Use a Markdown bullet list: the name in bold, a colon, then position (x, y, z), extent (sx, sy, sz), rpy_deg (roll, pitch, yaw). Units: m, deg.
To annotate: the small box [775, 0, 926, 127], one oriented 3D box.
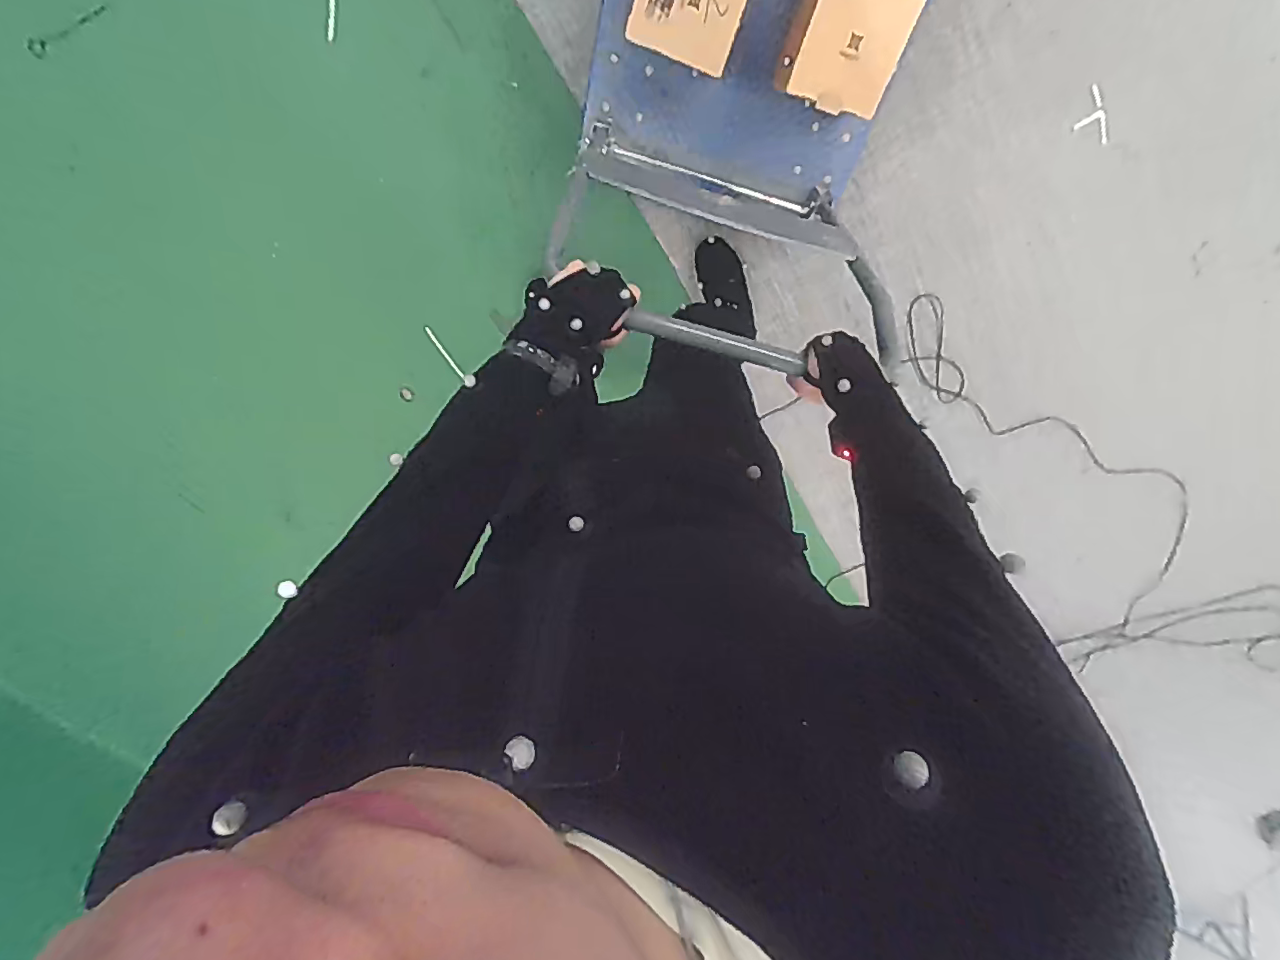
- **small box**: position (0.354, -0.759, 0.953), extent (0.168, 0.176, 0.179), rpy_deg (14, 129, -9)
